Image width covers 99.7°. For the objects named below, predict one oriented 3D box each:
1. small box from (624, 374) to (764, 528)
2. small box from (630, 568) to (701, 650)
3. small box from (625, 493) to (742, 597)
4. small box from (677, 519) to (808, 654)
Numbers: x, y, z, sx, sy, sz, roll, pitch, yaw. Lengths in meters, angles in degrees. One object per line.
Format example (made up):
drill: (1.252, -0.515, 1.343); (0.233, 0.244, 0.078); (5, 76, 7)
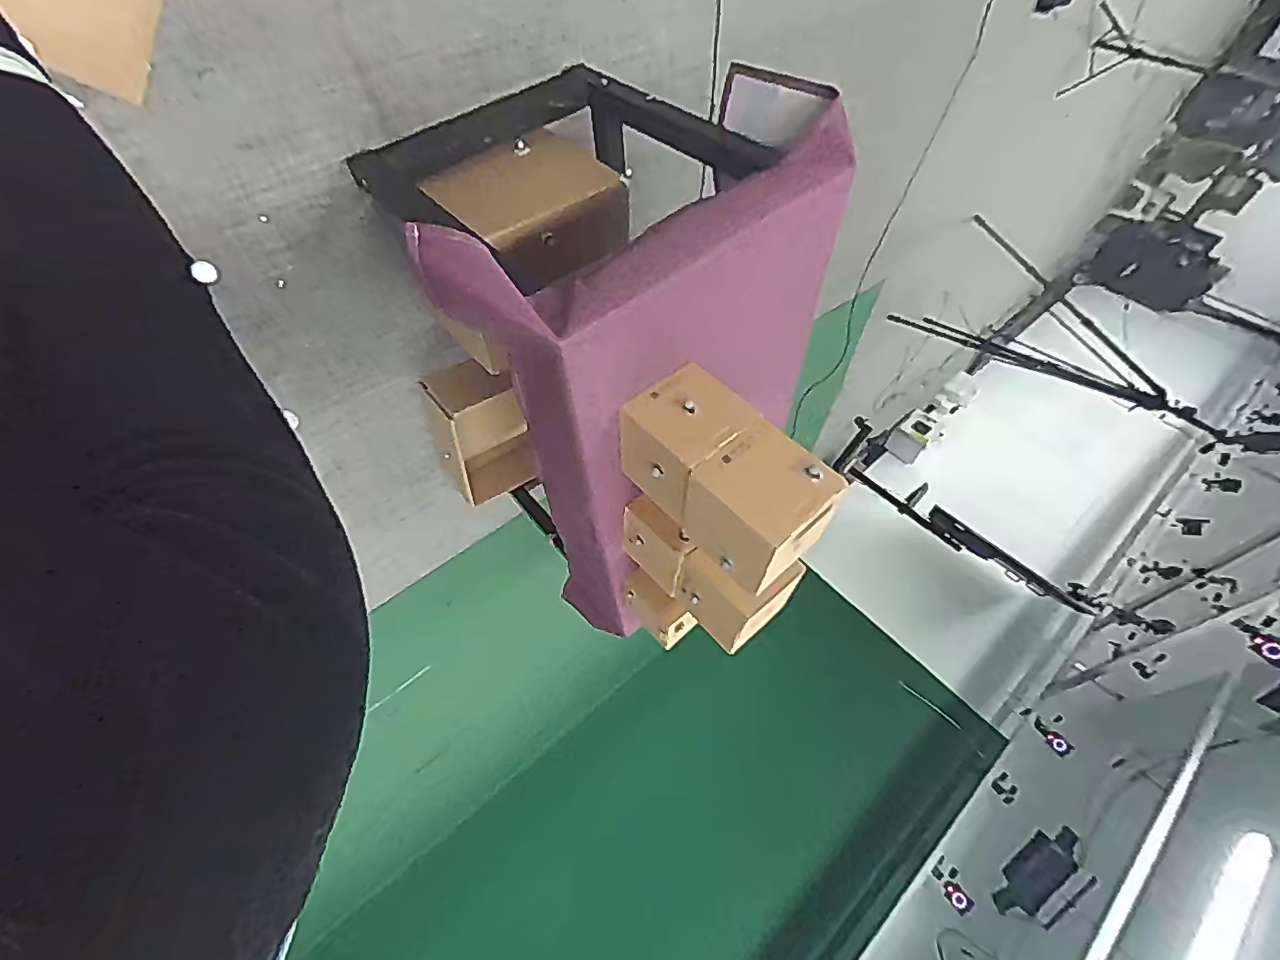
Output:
small box: (0.084, -0.057, 0.927); (0.168, 0.176, 0.179); (-34, 150, -22)
small box: (0.086, 0.306, 1.428); (0.179, 0.176, 0.168); (-36, 151, -23)
small box: (0.089, 0.112, 1.172); (0.179, 0.176, 0.168); (-32, 150, -26)
small box: (0.202, 0.210, 1.102); (0.179, 0.176, 0.168); (-31, 149, -27)
